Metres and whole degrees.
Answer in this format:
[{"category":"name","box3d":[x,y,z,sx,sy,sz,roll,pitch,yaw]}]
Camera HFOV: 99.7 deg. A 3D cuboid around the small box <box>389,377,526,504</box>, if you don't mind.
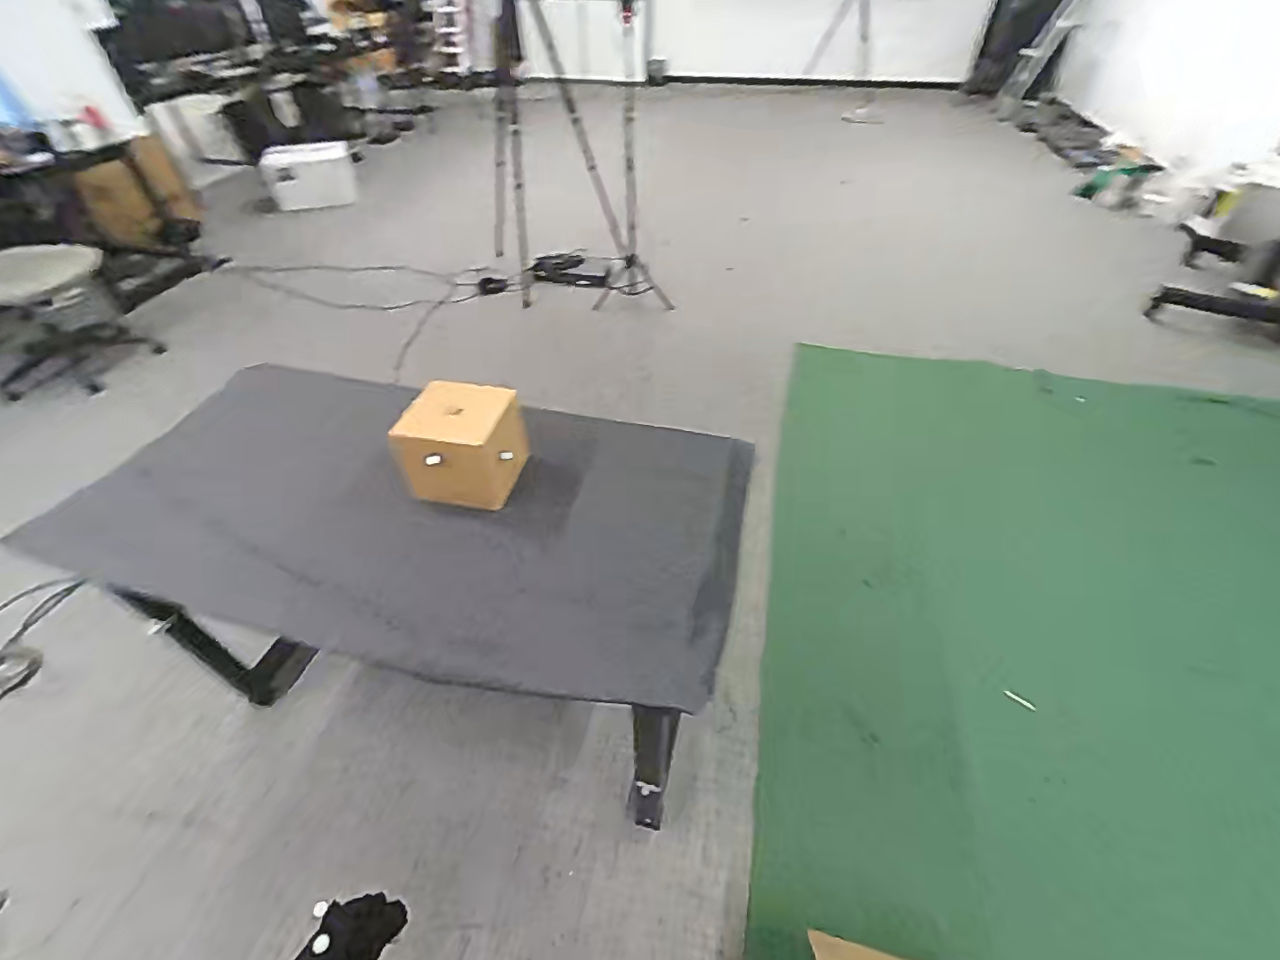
[{"category":"small box","box3d":[-0.333,-0.073,1.031,0.179,0.176,0.168,7,46,9]}]
